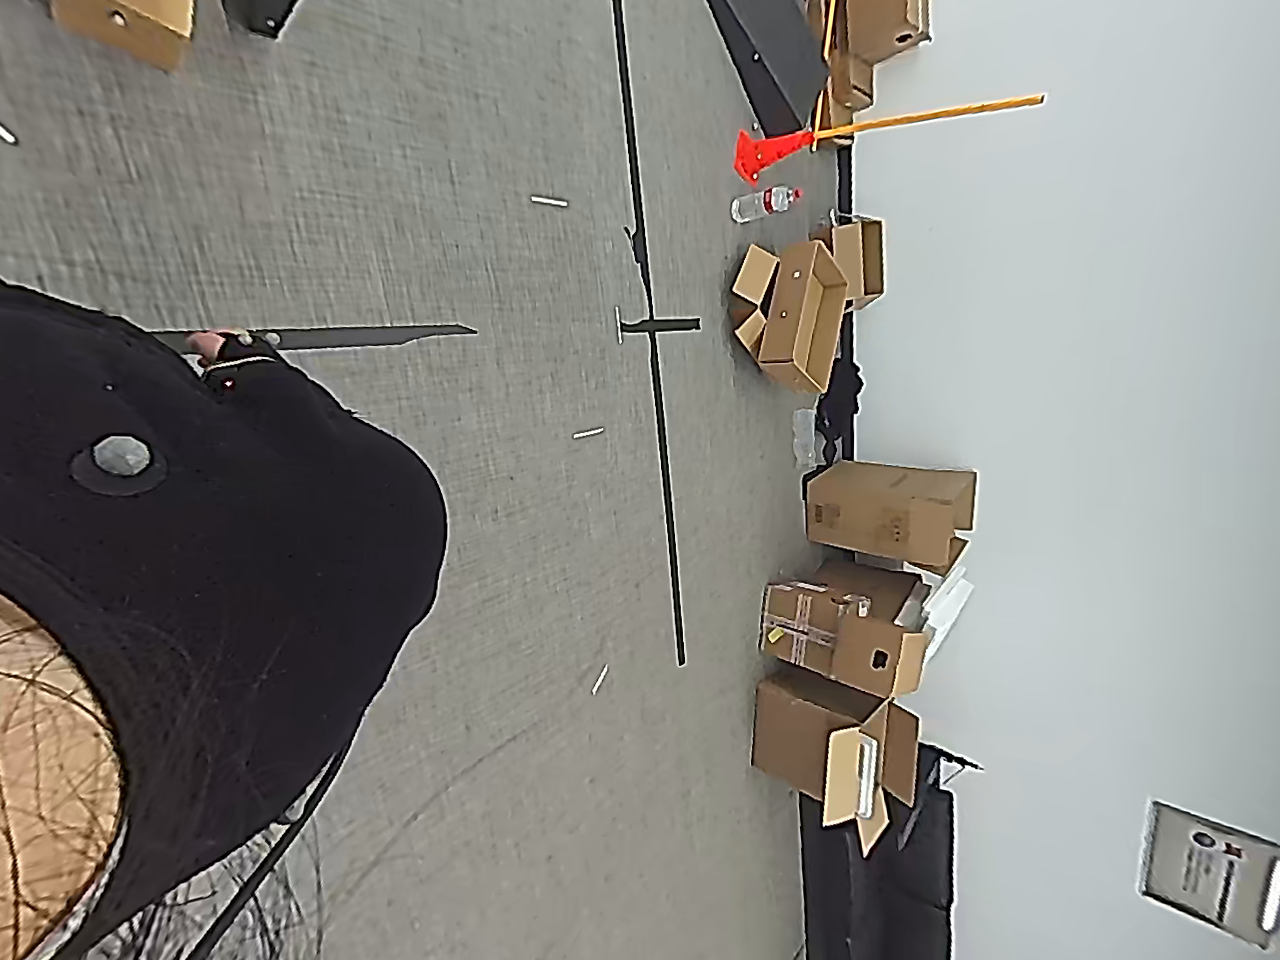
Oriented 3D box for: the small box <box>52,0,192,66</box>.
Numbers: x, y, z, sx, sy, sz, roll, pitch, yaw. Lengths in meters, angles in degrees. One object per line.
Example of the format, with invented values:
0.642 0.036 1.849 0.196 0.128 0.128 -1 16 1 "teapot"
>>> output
-0.952 -0.915 0.998 0.179 0.176 0.168 4 93 -46 "small box"
